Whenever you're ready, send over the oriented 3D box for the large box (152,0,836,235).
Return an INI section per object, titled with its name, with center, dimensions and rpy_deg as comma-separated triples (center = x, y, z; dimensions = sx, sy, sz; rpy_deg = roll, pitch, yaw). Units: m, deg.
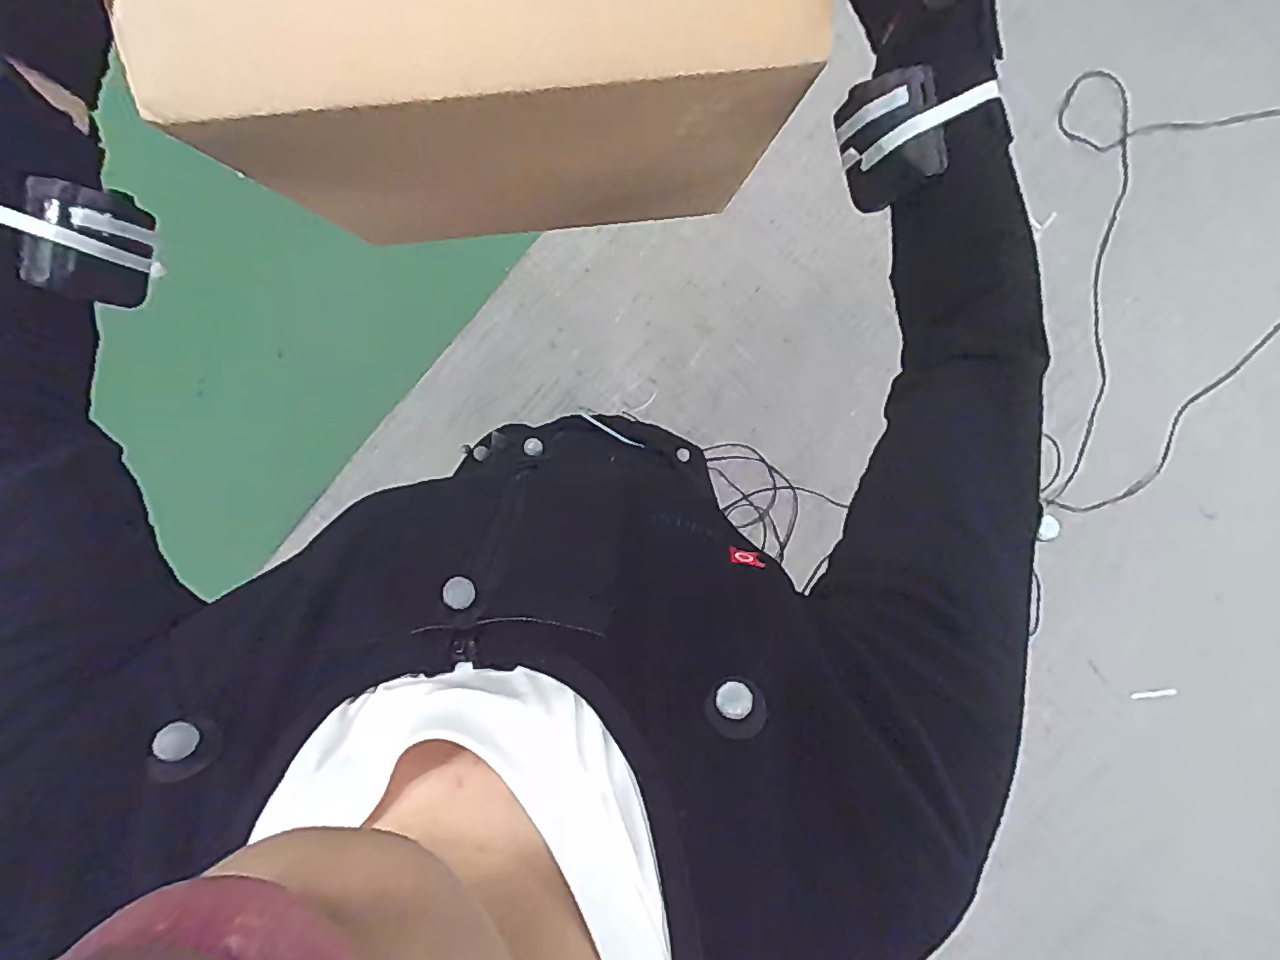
[large box]
center = -0.103, -0.419, 0.443
dimensions = 0.408, 0.320, 0.320
rpy_deg = -7, 102, -3
